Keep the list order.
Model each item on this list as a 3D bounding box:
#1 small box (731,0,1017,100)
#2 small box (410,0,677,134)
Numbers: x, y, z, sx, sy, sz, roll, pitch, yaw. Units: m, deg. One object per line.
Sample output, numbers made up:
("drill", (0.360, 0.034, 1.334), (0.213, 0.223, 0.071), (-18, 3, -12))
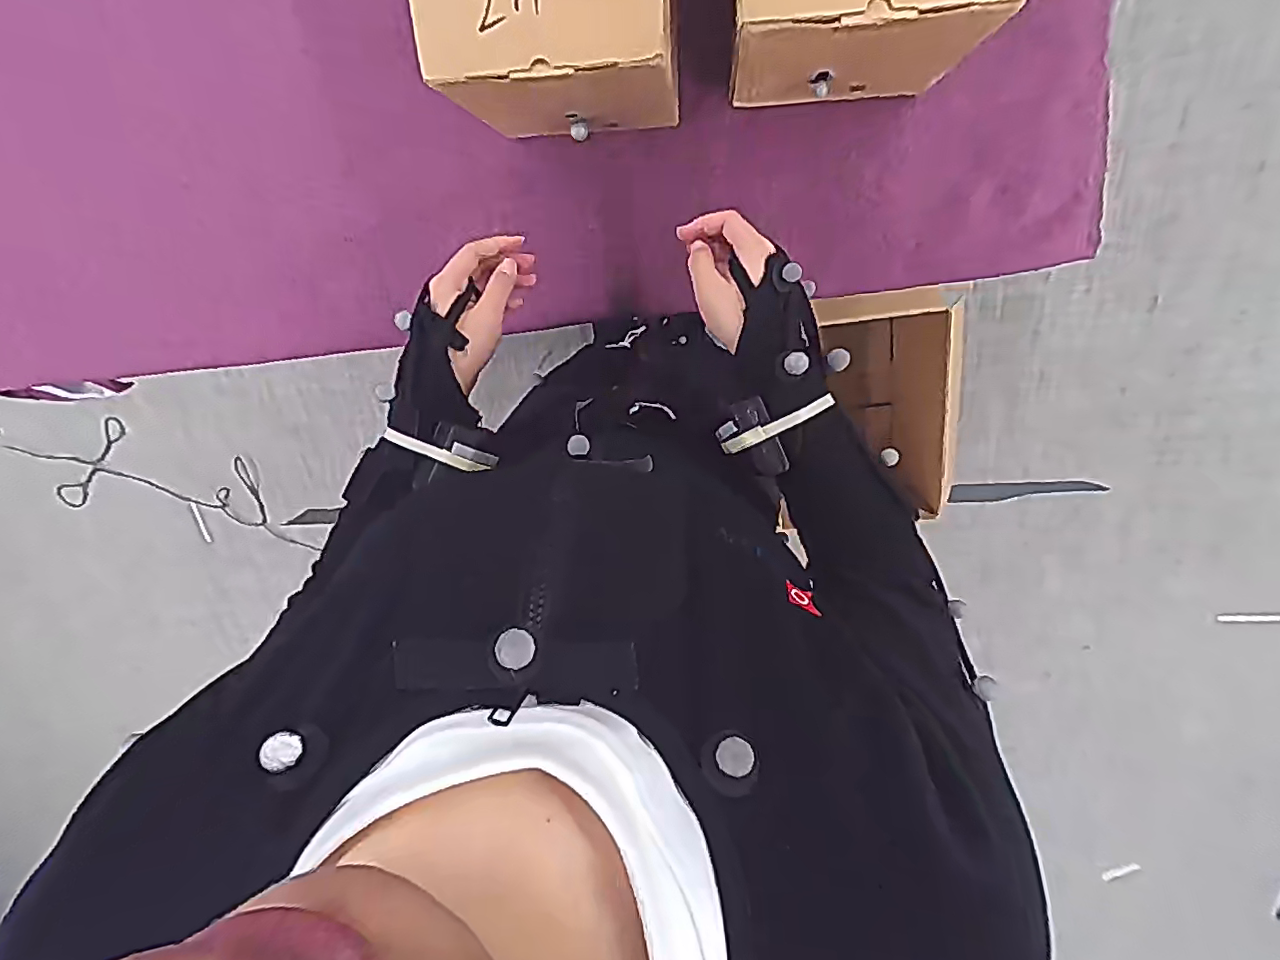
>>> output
("small box", (0.149, -0.389, 0.366), (0.168, 0.176, 0.179), (0, 111, 8))
("small box", (-0.060, -0.379, 0.398), (0.168, 0.176, 0.179), (0, 112, 7))
